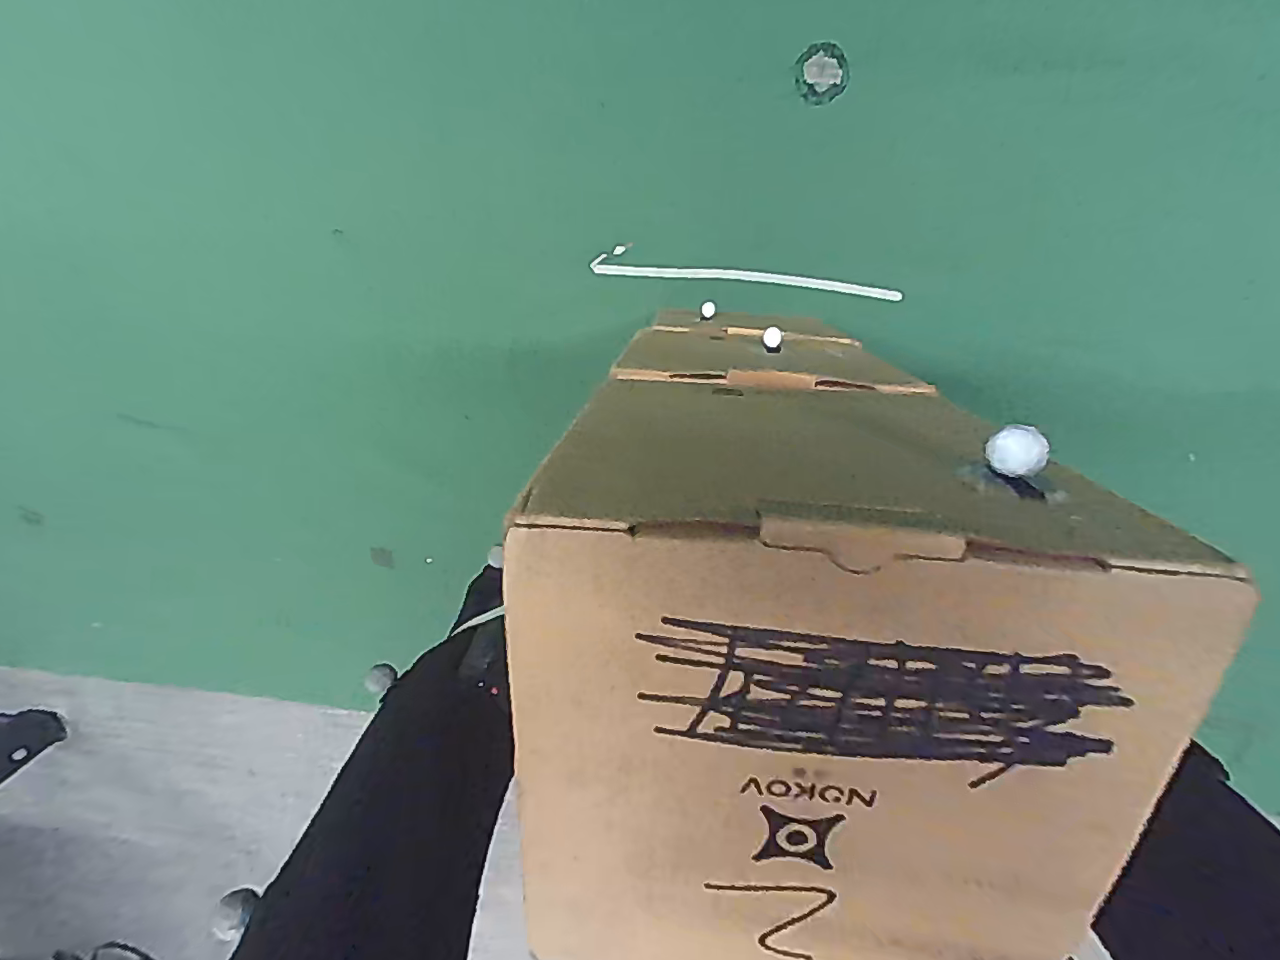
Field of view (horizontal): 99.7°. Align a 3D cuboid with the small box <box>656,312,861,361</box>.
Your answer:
[{"bbox_3d":[0.092,-0.064,0.525,0.168,0.176,0.179,5,113,4],"label":"small box"}]

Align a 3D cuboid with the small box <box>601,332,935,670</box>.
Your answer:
[{"bbox_3d":[0.070,0.000,0.378,0.168,0.176,0.179,5,111,4],"label":"small box"}]
